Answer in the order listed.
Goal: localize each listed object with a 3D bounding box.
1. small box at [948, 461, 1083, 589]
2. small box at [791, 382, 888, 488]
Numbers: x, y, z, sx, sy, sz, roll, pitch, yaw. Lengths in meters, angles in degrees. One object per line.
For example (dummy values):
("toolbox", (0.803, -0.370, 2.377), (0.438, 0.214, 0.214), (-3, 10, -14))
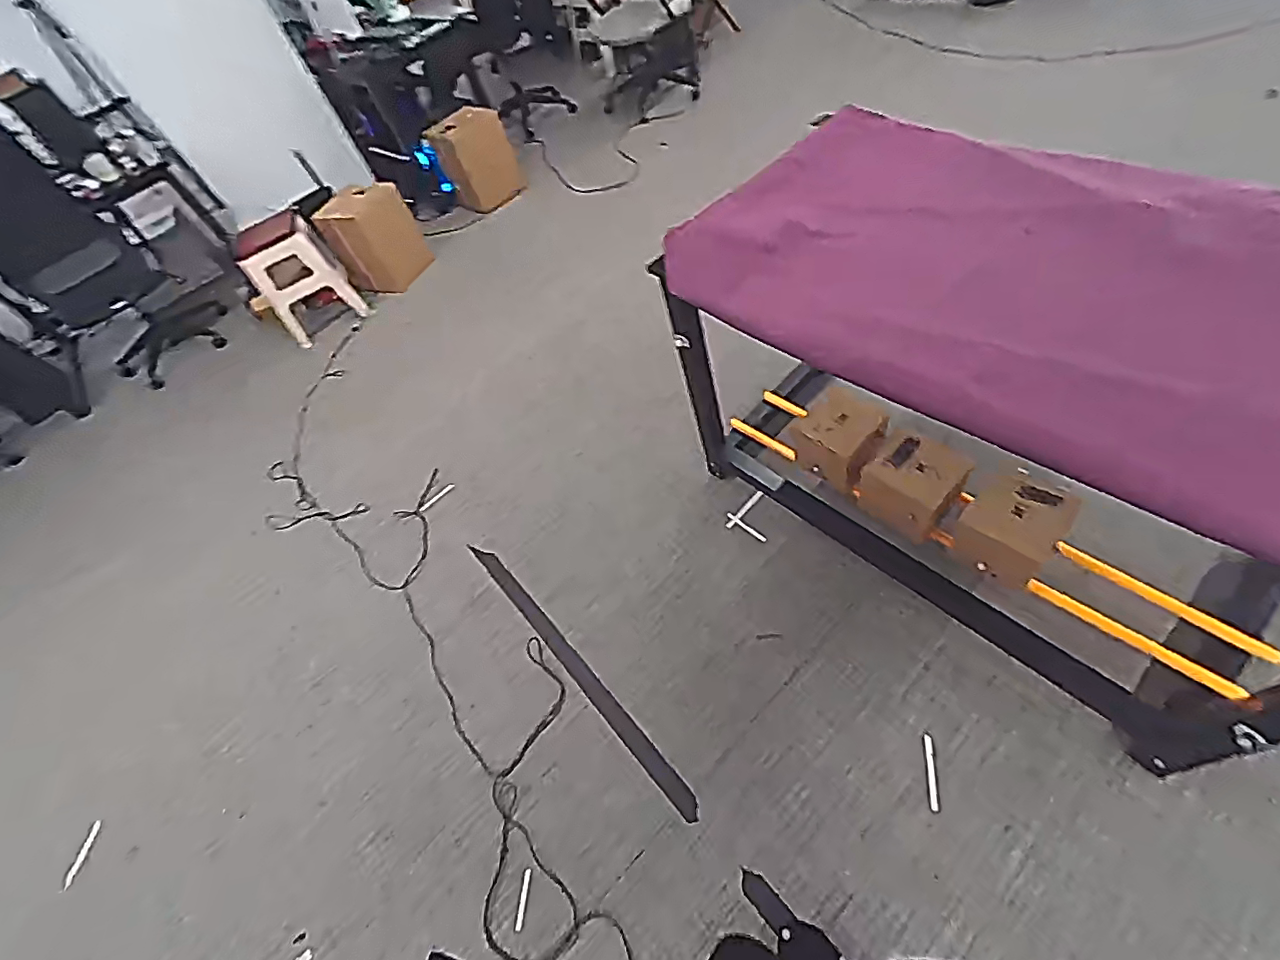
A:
("small box", (0.793, 0.099, 1.162), (0.179, 0.176, 0.168), (-46, 54, -13))
("small box", (0.511, -0.114, 1.402), (0.179, 0.176, 0.168), (-44, 55, -12))
